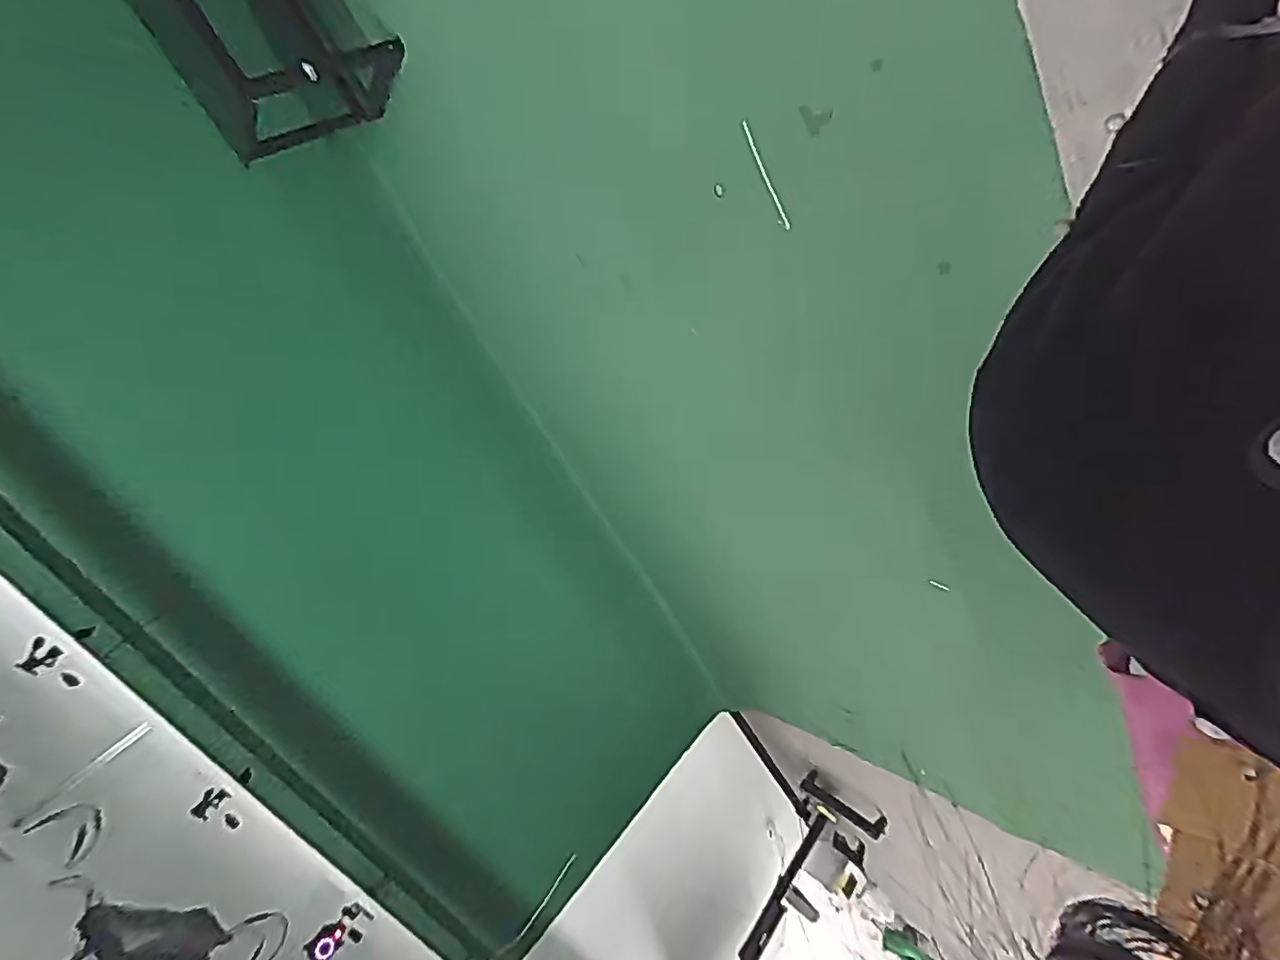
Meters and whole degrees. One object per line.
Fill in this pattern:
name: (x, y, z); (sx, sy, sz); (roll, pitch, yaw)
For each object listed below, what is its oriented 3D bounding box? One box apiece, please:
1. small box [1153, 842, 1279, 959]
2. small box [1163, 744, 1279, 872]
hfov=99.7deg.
small box: (0.832, 0.631, 0.721); (0.179, 0.176, 0.168); (1, 127, 55)
small box: (0.932, 0.529, 0.801); (0.168, 0.176, 0.179); (56, 152, -15)
